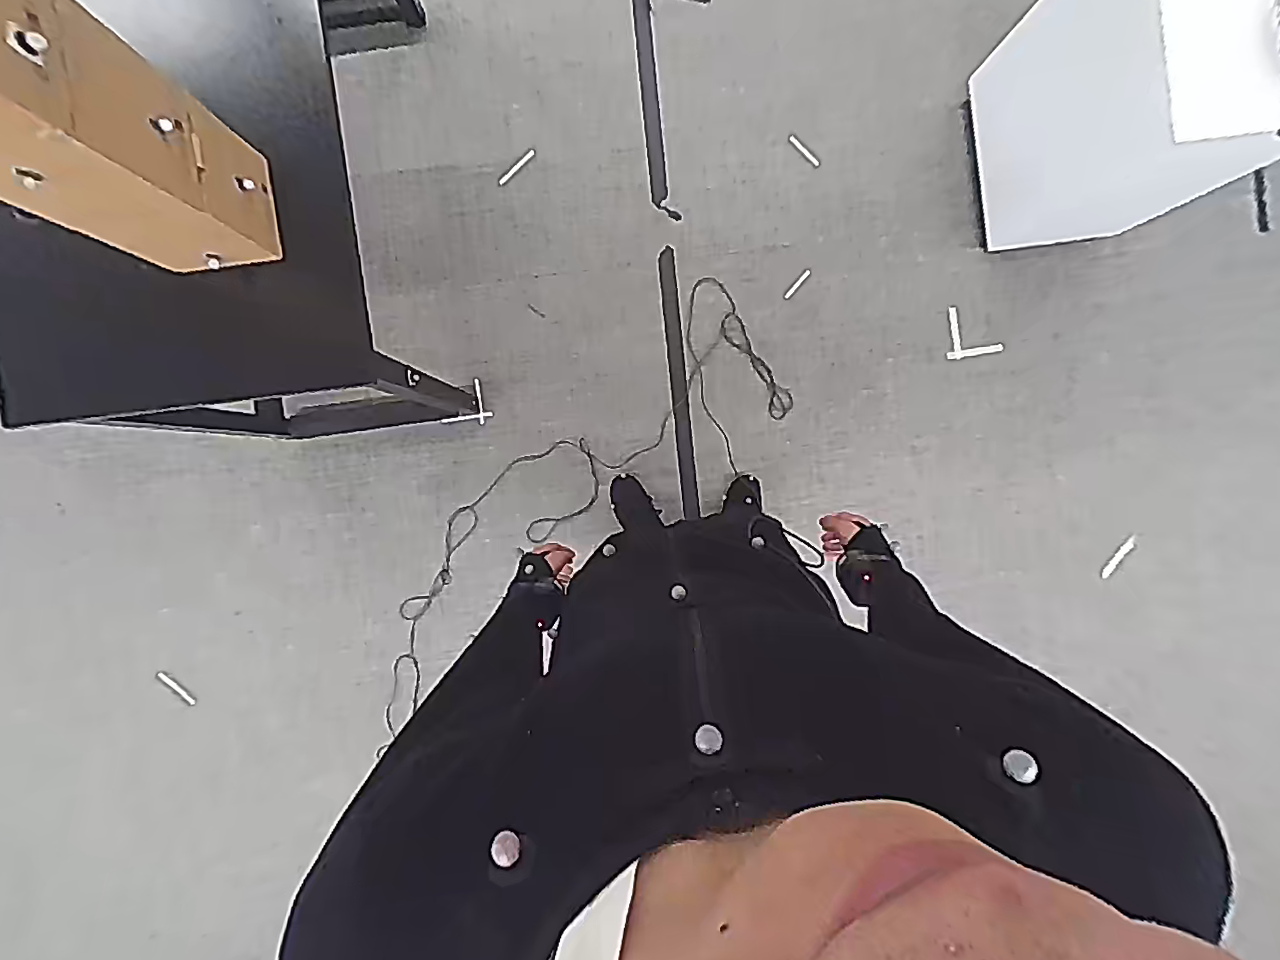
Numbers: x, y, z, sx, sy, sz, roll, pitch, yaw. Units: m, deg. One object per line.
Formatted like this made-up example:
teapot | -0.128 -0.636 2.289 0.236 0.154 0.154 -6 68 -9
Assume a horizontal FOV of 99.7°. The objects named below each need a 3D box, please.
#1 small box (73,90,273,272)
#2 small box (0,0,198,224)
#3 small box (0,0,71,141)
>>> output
small box | -0.674 -0.423 0.790 0.179 0.176 0.168 -9 92 -2
small box | -0.672 -0.418 0.625 0.179 0.176 0.168 -8 93 -1
small box | -0.667 -0.414 0.462 0.179 0.176 0.168 -9 93 -2
